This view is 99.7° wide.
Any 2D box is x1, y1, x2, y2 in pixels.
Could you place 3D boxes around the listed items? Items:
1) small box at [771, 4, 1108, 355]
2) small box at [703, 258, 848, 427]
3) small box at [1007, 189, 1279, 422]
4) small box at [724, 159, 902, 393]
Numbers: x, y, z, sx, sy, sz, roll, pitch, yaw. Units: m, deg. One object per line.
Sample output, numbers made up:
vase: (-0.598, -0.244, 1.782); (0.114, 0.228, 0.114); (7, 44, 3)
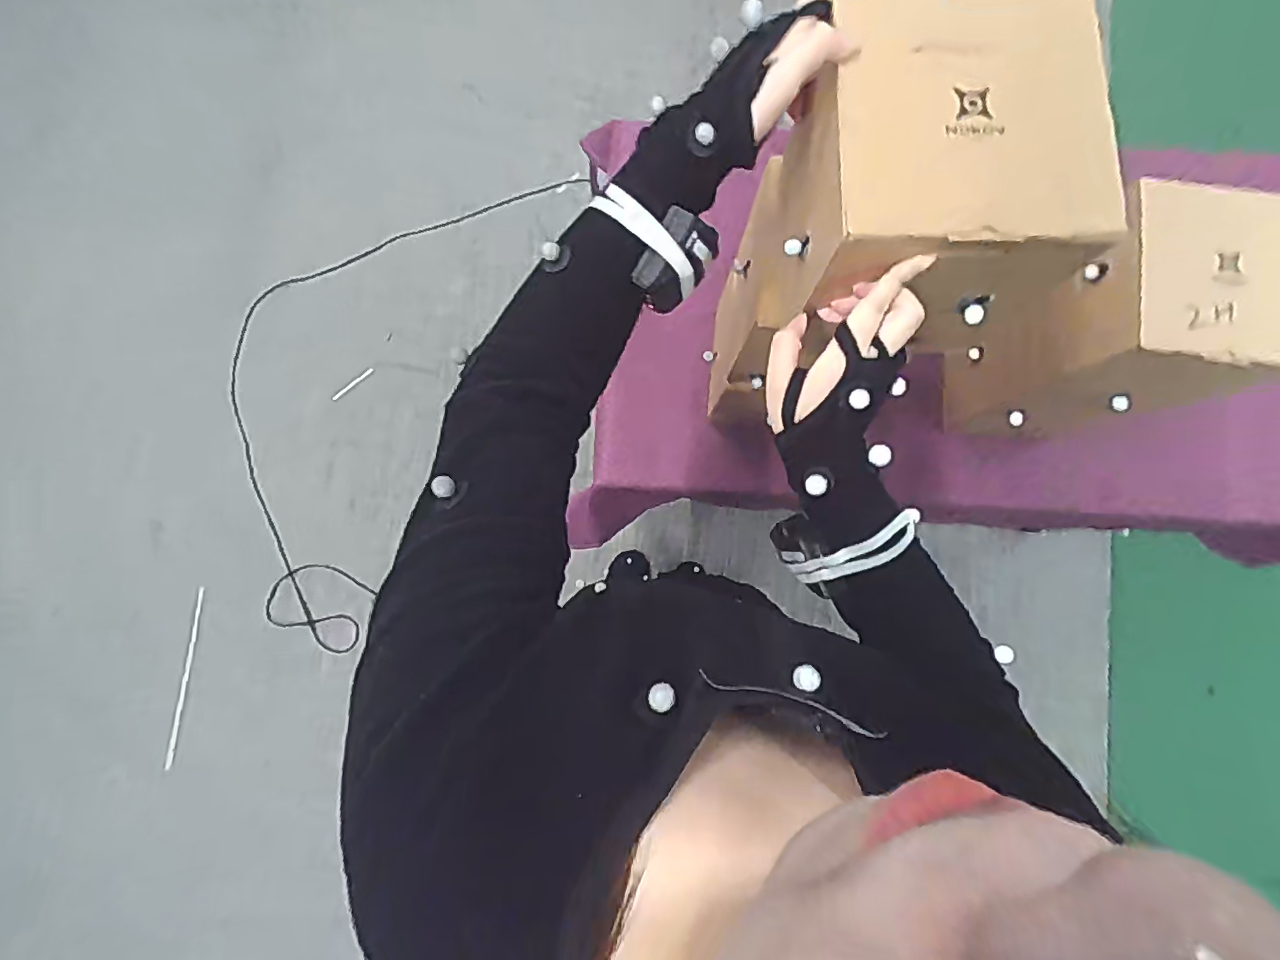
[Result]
small box: (0.202, -0.208, 0.416); (0.168, 0.176, 0.179); (2, 81, 0)
small box: (0.184, -0.178, 0.754); (0.168, 0.176, 0.179); (6, 84, -1)
small box: (0.540, -0.177, 0.594); (0.168, 0.176, 0.179); (8, 83, 1)
small box: (0.191, -0.205, 0.591); (0.168, 0.176, 0.179); (7, 82, 0)
